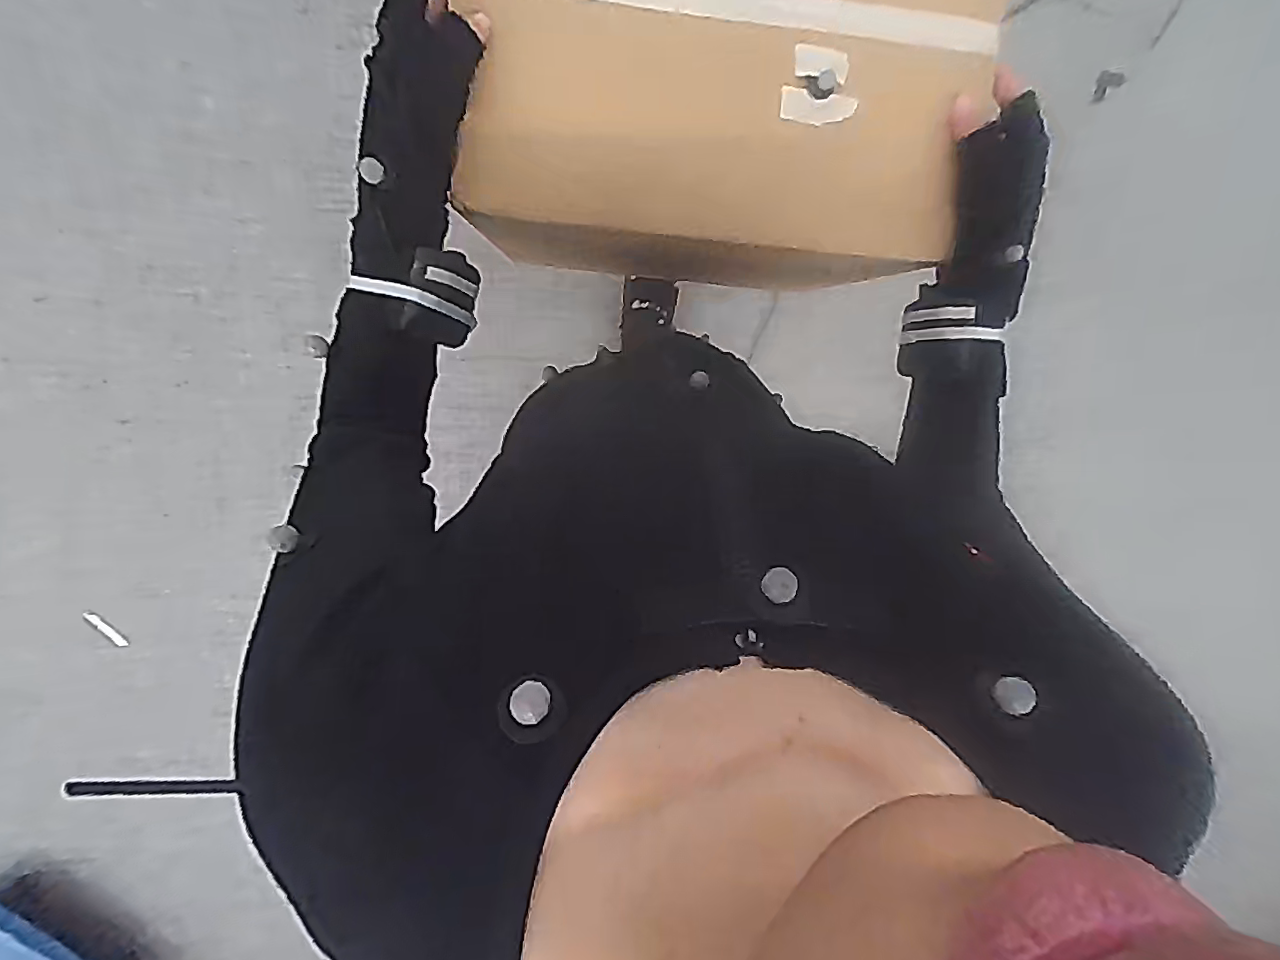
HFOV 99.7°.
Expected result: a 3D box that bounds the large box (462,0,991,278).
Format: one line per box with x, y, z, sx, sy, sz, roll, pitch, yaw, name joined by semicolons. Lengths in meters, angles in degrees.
0.054;-0.392;0.542;0.408;0.320;0.320;2;105;-7;large box
